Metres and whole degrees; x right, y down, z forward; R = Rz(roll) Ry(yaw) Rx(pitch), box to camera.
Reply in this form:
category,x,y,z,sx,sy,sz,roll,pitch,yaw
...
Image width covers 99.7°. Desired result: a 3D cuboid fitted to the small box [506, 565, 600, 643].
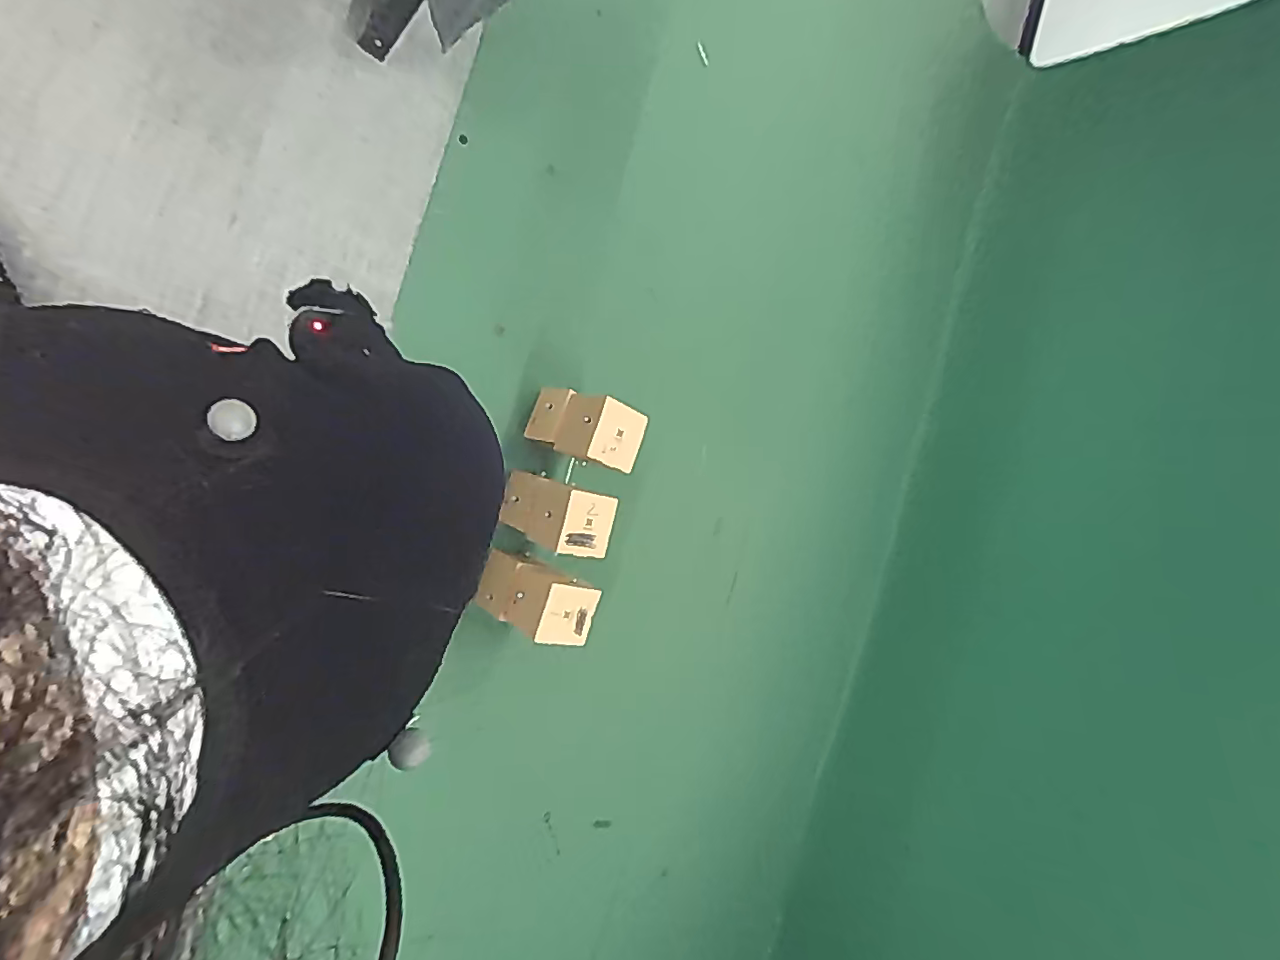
category,x,y,z,sx,sy,sz,roll,pitch,yaw
small box,-0.249,0.350,1.536,0.179,0.176,0.168,20,86,-42

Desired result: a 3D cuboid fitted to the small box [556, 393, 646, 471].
category,x,y,z,sx,sy,sz,roll,pitch,yaw
small box,-0.115,-0.141,1.543,0.168,0.176,0.179,23,83,-42

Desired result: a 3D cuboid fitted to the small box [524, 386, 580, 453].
category,x,y,z,sx,sy,sz,roll,pitch,yaw
small box,-0.227,-0.179,1.659,0.179,0.176,0.168,25,82,-42

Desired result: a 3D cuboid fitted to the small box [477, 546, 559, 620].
category,x,y,z,sx,sy,sz,roll,pitch,yaw
small box,-0.371,0.317,1.640,0.168,0.176,0.179,23,85,-42
